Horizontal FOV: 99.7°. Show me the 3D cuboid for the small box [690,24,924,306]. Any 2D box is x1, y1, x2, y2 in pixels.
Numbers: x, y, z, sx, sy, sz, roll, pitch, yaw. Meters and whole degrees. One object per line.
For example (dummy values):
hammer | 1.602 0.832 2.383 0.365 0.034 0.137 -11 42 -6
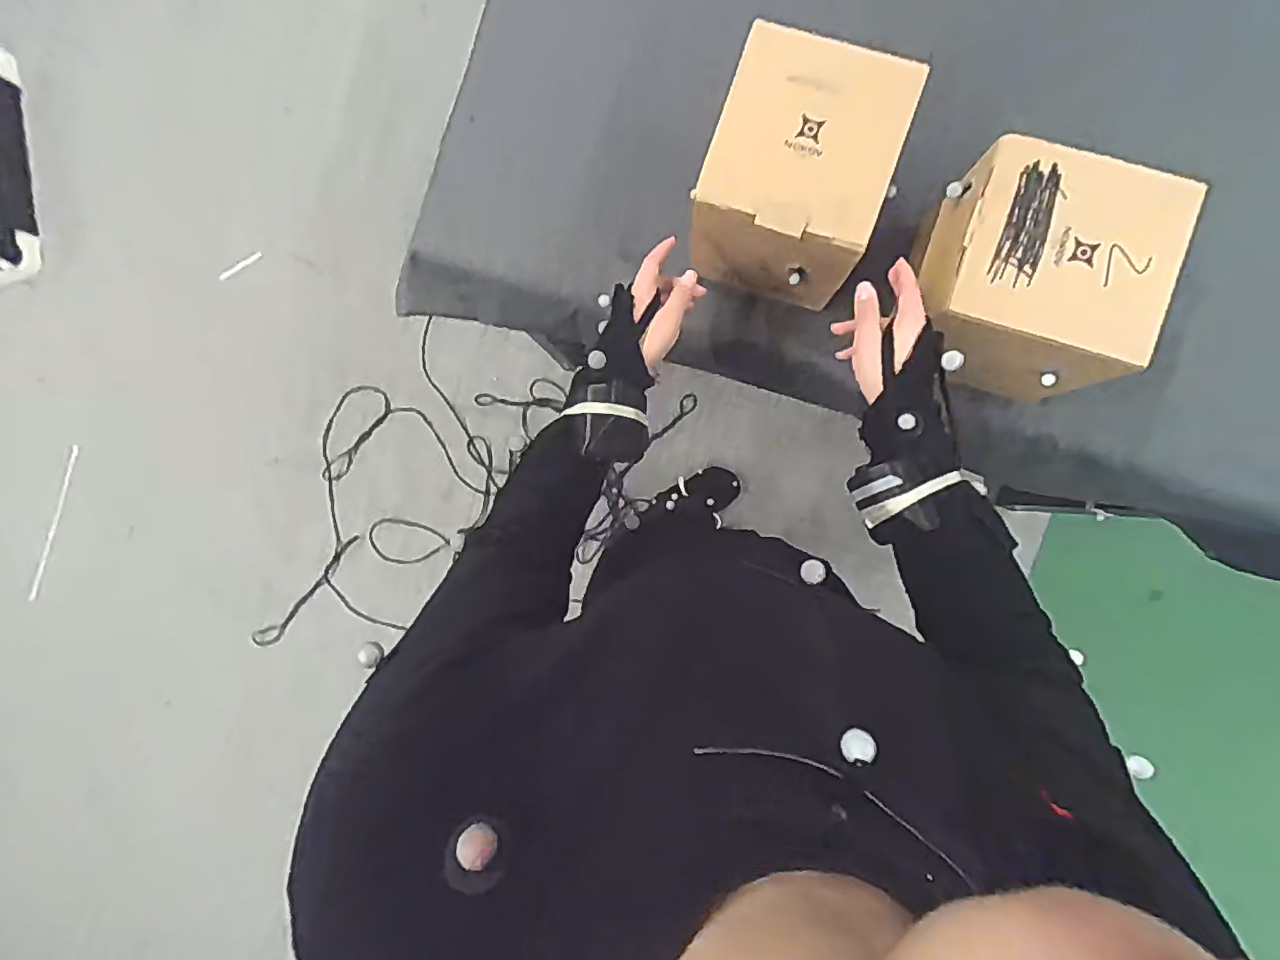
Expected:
small box | 0.157 -0.308 0.567 0.168 0.176 0.179 19 89 4
